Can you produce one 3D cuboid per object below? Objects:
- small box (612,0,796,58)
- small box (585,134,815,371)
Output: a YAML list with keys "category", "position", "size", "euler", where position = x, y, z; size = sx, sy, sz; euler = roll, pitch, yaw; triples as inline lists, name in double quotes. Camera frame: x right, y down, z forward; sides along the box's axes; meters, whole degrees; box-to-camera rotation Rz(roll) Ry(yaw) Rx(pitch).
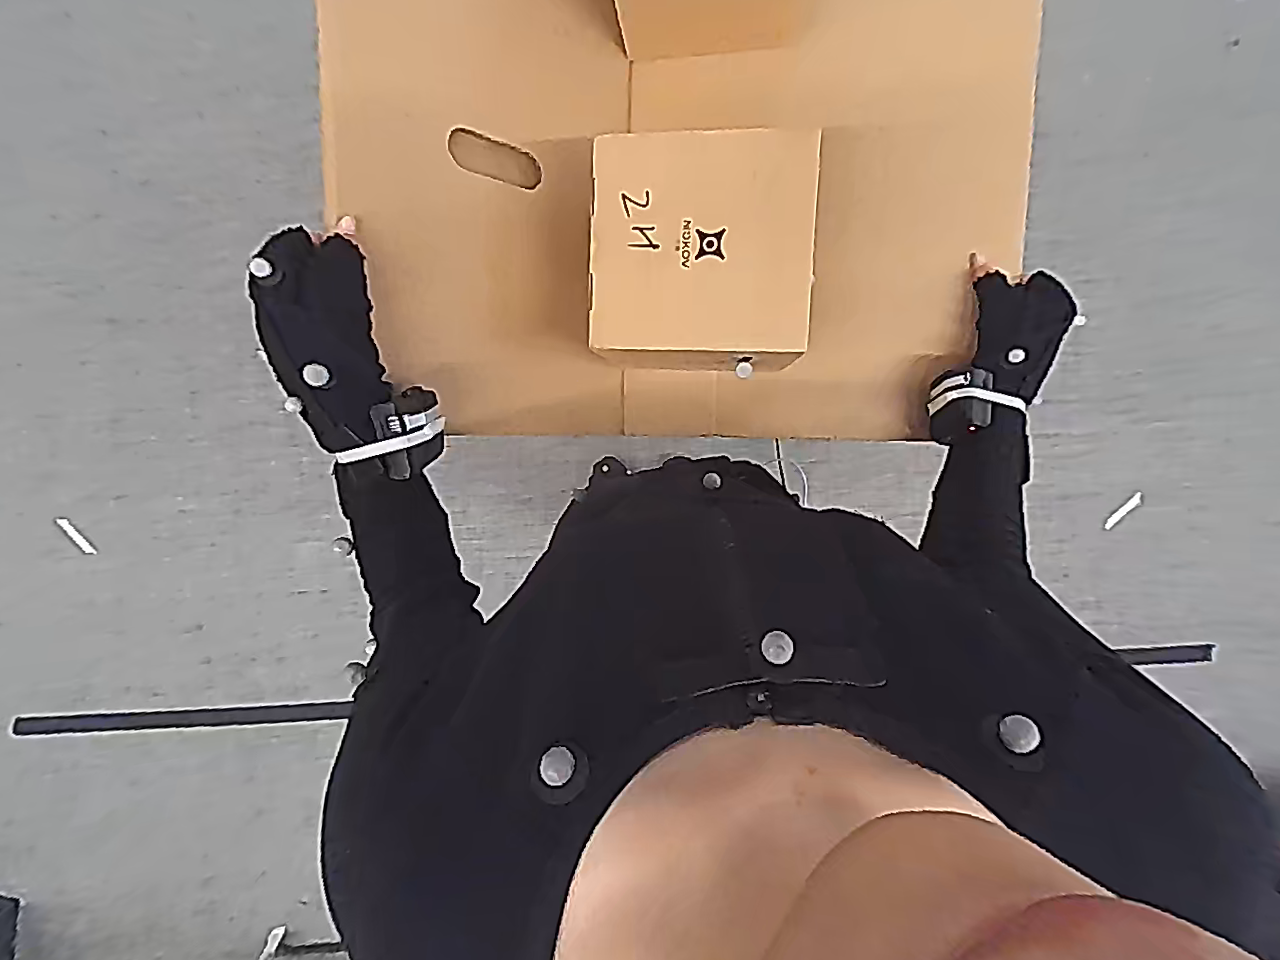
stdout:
- category: "small box"
  position: [0.058, -0.514, 0.478]
  size: [0.179, 0.176, 0.168]
  euler: [0, 96, 7]
- category: "small box"
  position: [0.054, -0.196, 0.509]
  size: [0.179, 0.176, 0.168]
  euler: [3, 96, 8]
